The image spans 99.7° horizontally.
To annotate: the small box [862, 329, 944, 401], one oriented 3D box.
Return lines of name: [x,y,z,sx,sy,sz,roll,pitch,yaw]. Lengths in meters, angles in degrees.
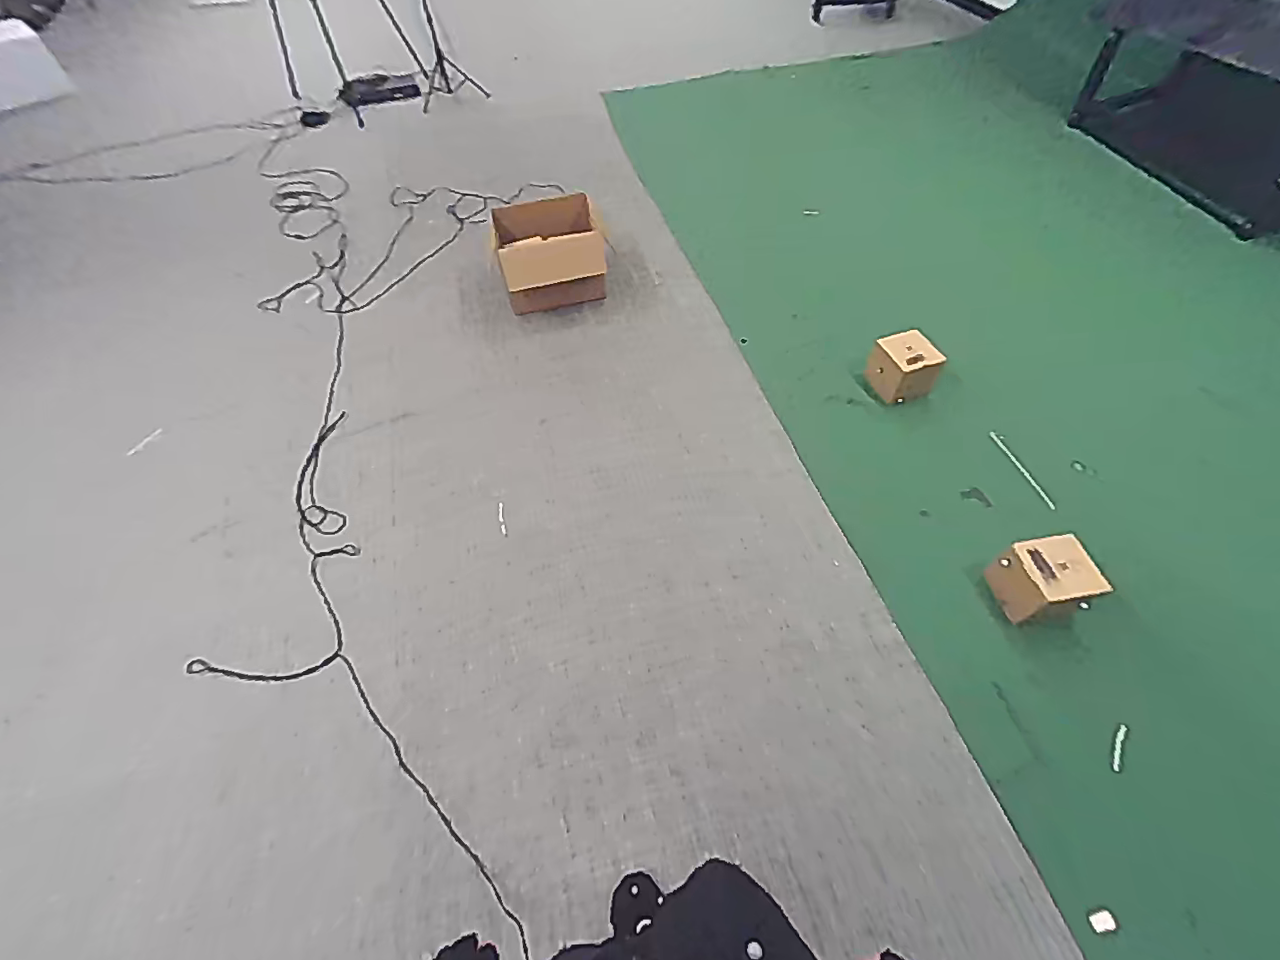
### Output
small box: [0.919,-0.397,1.903,0.168,0.176,0.179,-16,55,-9]
